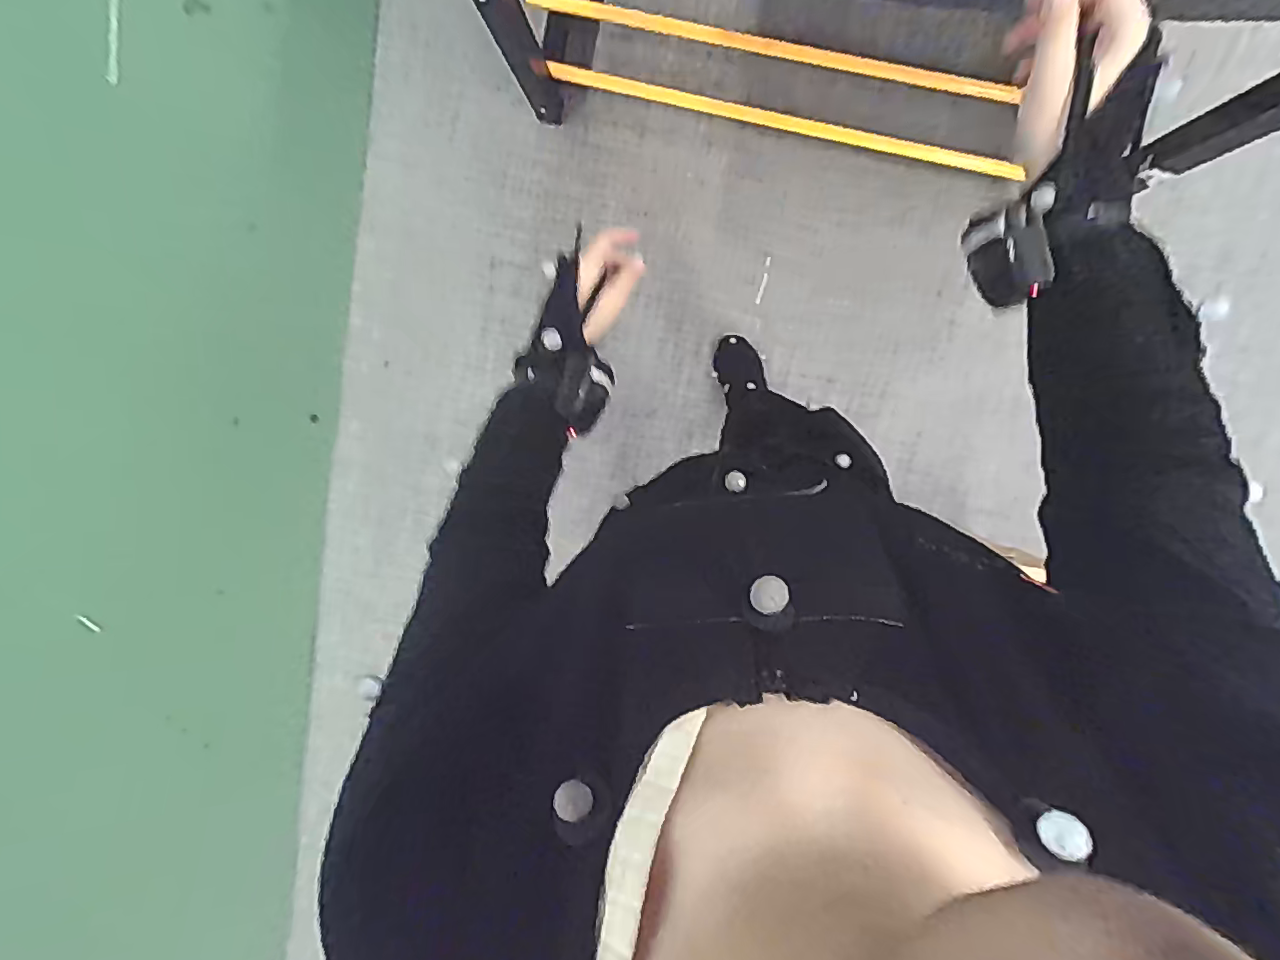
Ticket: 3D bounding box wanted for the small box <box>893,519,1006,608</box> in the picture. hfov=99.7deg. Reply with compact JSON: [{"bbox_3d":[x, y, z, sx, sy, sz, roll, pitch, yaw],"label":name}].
[{"bbox_3d":[0.710,0.195,1.256,0.168,0.176,0.179,8,99,4],"label":"small box"}]
